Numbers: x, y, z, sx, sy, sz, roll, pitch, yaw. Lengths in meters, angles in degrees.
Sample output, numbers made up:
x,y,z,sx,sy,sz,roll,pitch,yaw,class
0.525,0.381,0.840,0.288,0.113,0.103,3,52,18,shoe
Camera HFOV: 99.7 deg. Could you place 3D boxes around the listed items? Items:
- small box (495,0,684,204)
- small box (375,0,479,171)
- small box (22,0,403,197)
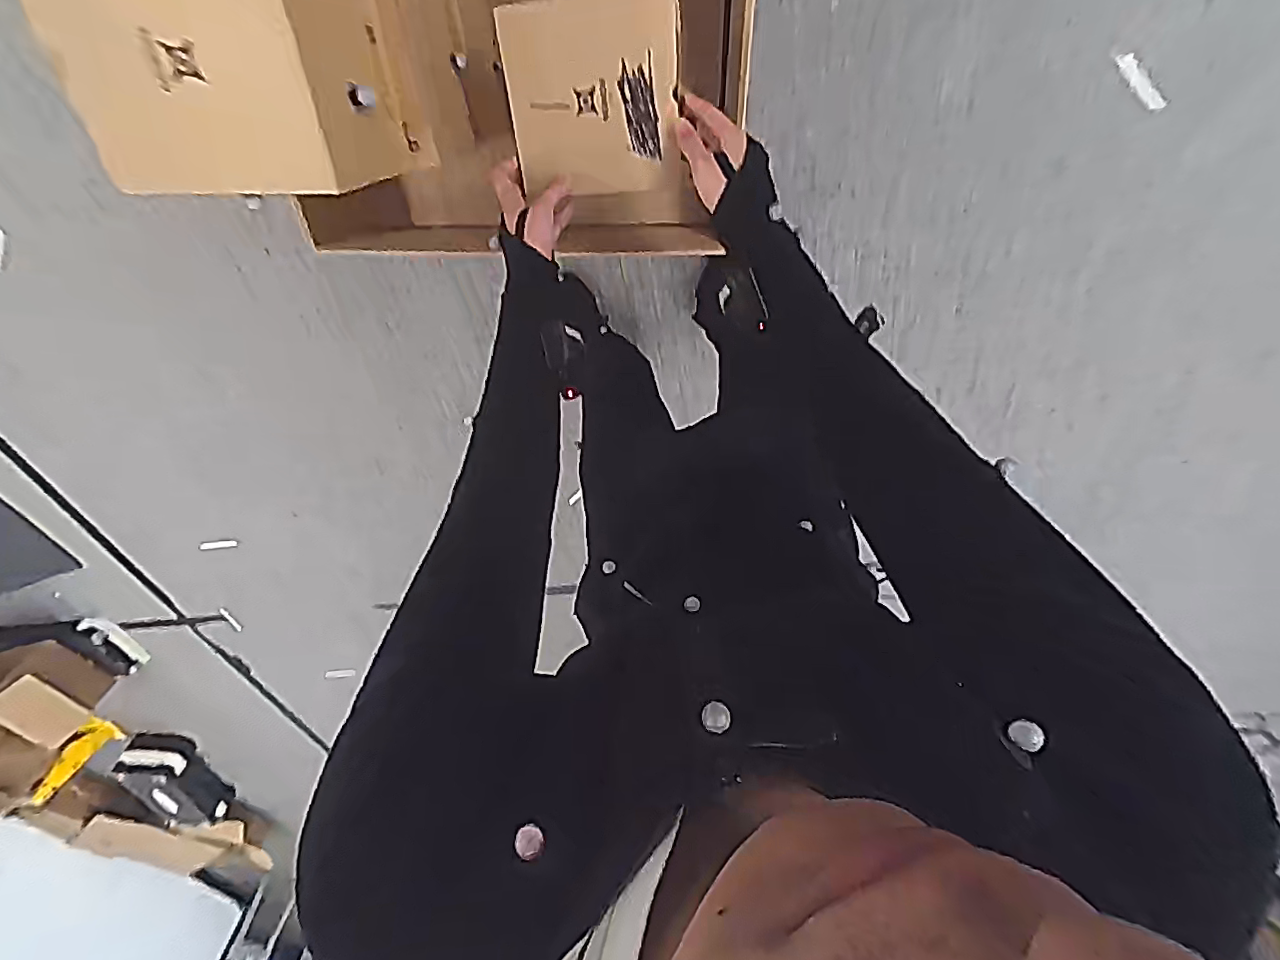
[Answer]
x,y,z,sx,sy,sz,roll,pitch,yaw,class
-0.042,-0.414,0.605,0.179,0.176,0.168,-1,122,5,small box
-0.284,-0.427,0.564,0.168,0.176,0.179,-2,125,4,small box
-0.312,-0.332,0.433,0.179,0.176,0.168,0,126,1,small box
